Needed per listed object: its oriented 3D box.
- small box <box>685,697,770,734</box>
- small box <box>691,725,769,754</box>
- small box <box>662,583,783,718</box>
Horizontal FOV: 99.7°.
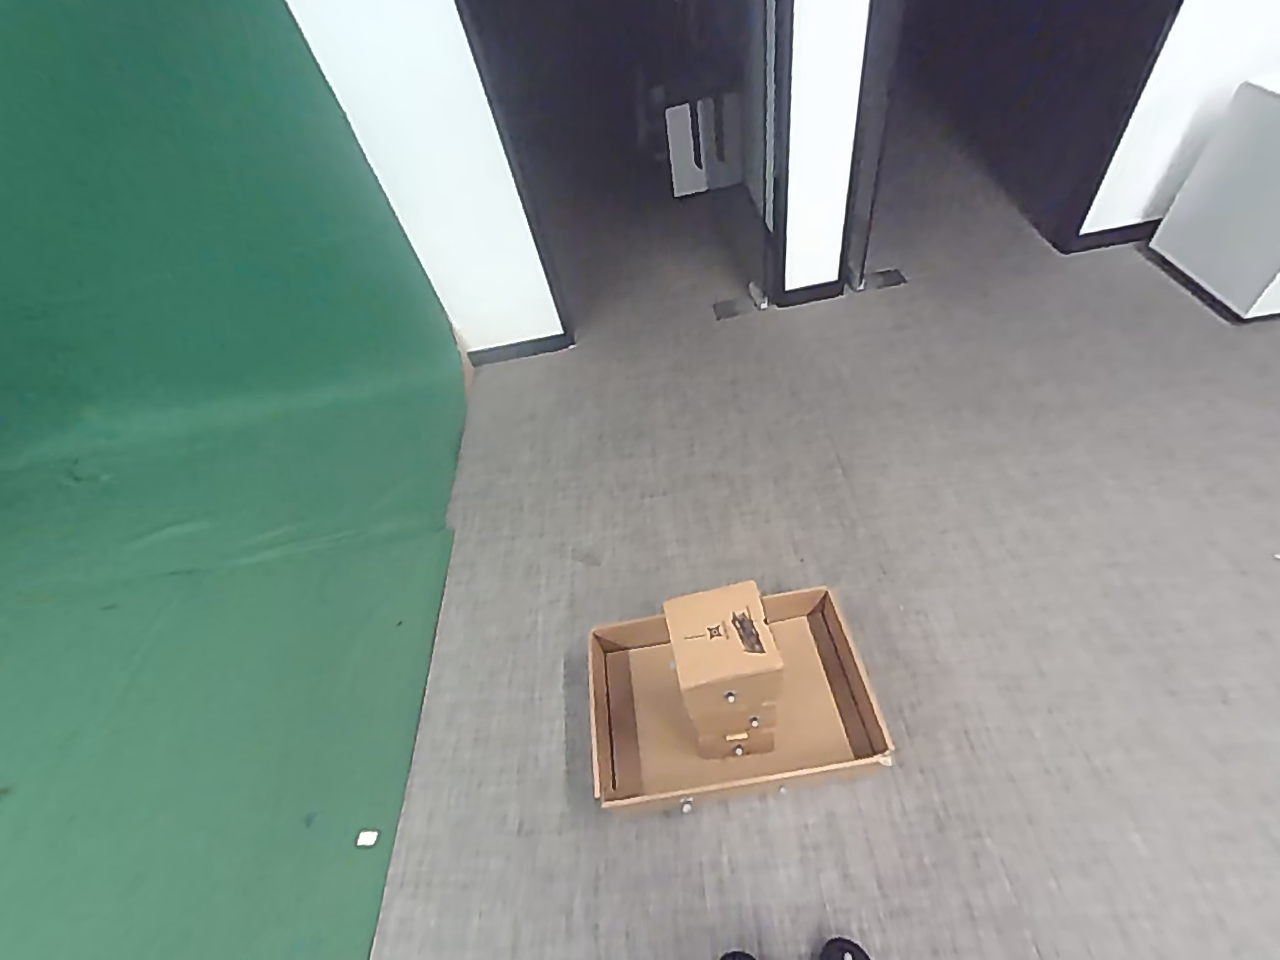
[{"bbox_3d":[0.174,0.417,1.131,0.168,0.176,0.179,-10,48,4],"label":"small box"},{"bbox_3d":[0.202,0.521,1.252,0.168,0.176,0.179,-9,49,5],"label":"small box"},{"bbox_3d":[0.148,0.319,1.002,0.179,0.176,0.168,-14,50,-1],"label":"small box"}]
